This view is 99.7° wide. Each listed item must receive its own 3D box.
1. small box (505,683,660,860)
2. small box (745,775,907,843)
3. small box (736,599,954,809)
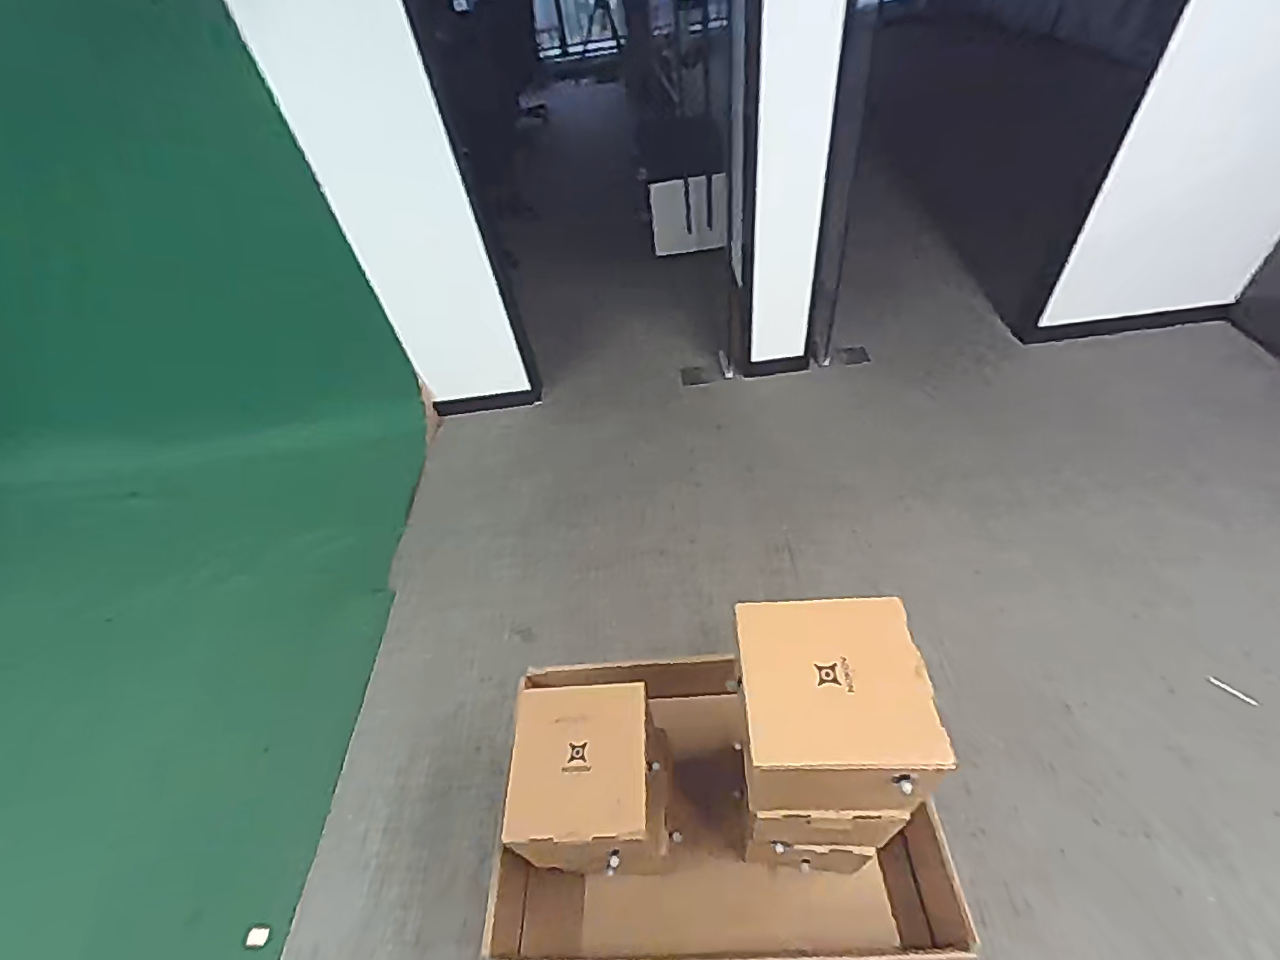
[{"bbox_3d":[-0.062,0.390,0.716,0.168,0.176,0.179,-4,47,5],"label":"small box"},{"bbox_3d":[0.222,0.356,0.703,0.168,0.176,0.179,-3,47,6],"label":"small box"},{"bbox_3d":[0.198,0.245,0.586,0.179,0.176,0.168,-3,47,5],"label":"small box"}]
